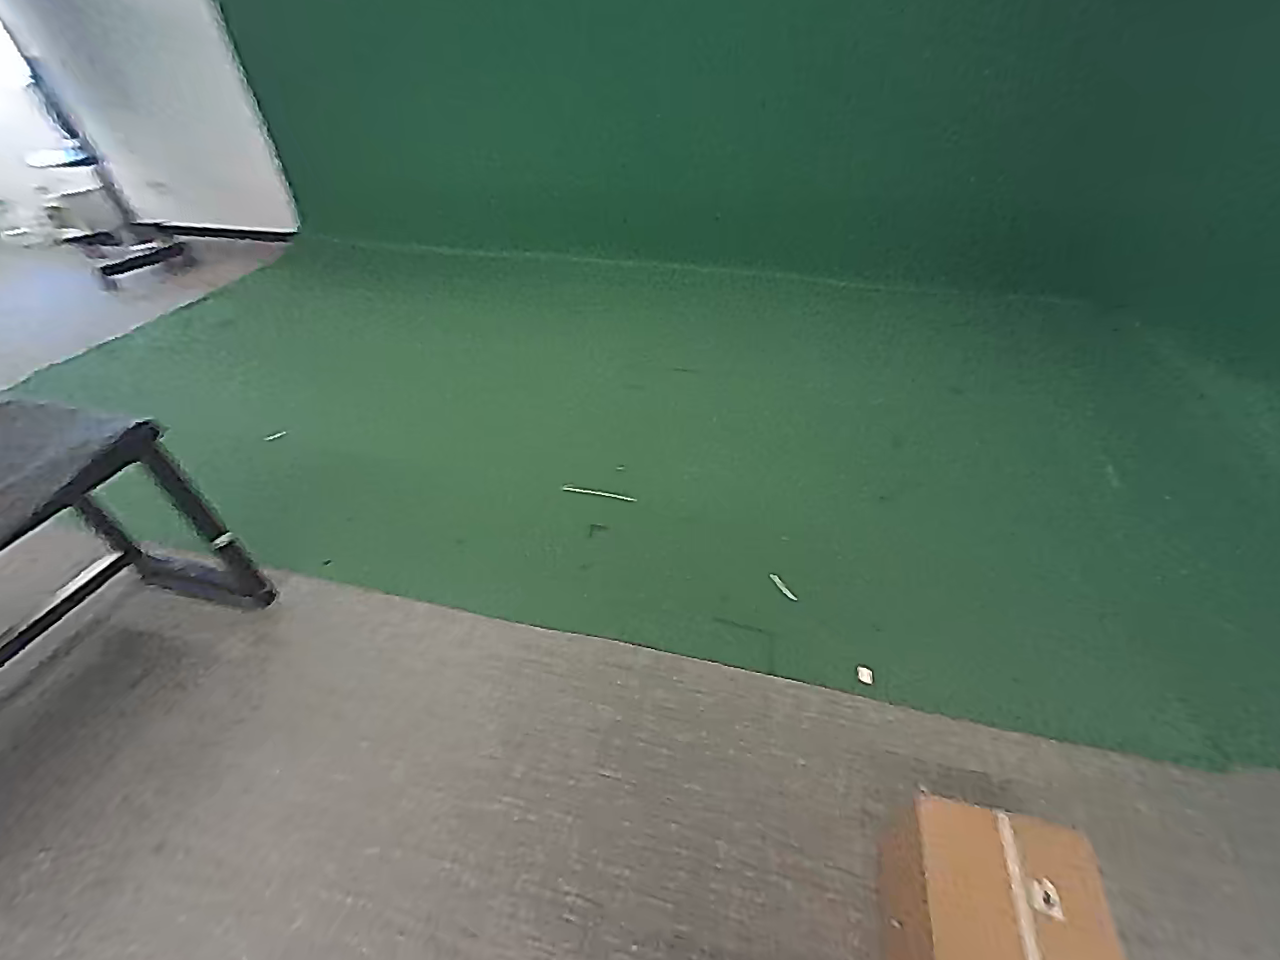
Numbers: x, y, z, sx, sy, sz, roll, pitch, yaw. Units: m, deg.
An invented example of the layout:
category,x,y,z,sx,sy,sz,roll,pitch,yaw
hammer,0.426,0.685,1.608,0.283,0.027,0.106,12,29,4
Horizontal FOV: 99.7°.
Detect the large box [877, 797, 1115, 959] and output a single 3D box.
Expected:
category,x,y,z,sx,sy,sz,roll,pitch,yaw
large box,0.663,0.918,1.037,0.320,0.320,0.408,10,41,12
